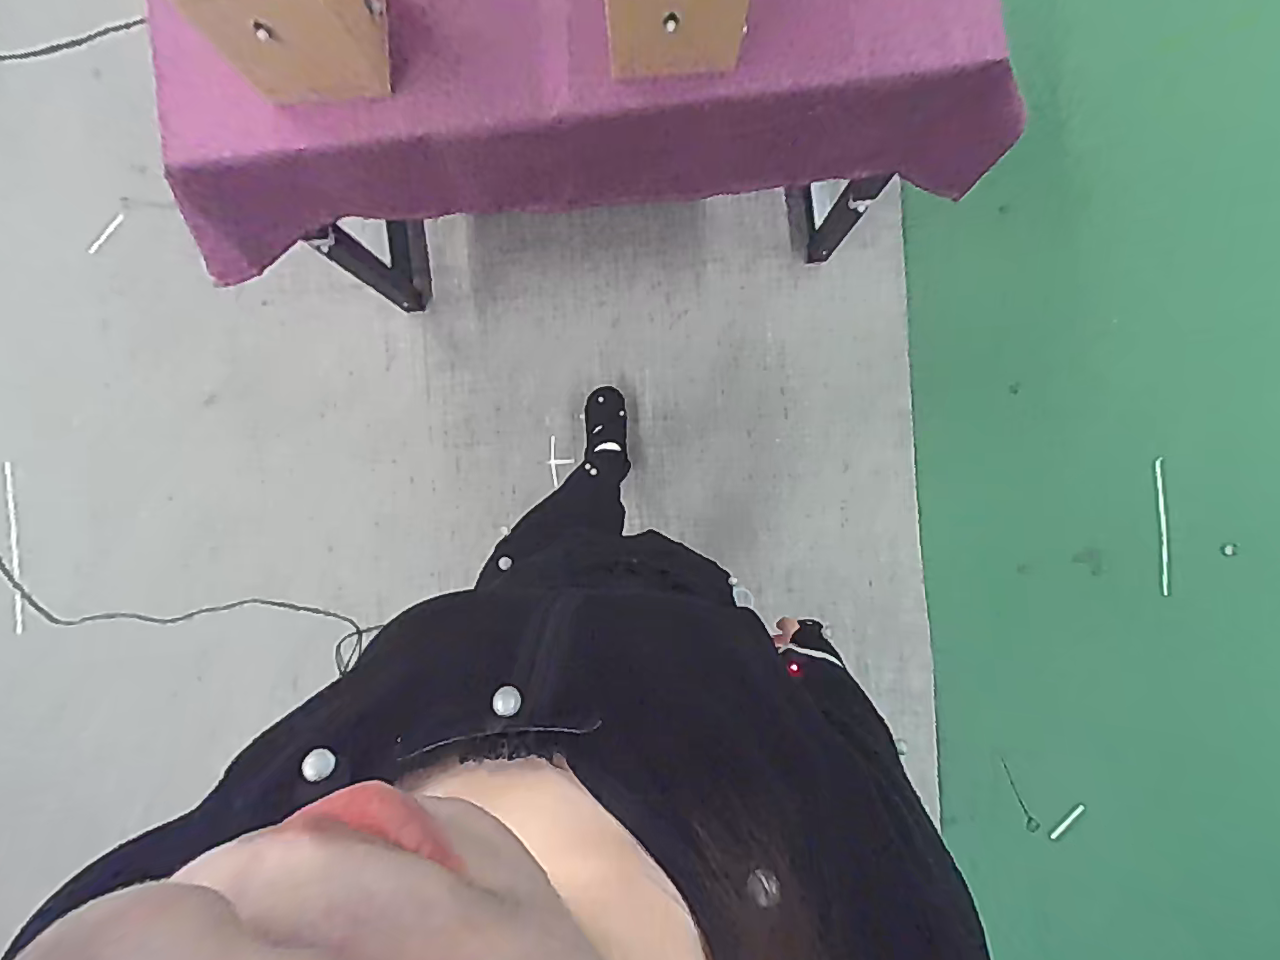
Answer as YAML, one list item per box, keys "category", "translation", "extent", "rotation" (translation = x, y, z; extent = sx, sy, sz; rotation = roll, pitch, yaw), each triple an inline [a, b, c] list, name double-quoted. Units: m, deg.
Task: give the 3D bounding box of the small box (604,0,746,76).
- category: "small box"
  translation: [0.042, -0.651, 0.678]
  extent: [0.179, 0.176, 0.168]
  rotation: [-4, 89, 2]

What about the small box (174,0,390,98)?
- category: "small box"
  translation: [-0.444, -0.621, 0.683]
  extent: [0.179, 0.176, 0.168]
  rotation: [-3, 90, 0]
